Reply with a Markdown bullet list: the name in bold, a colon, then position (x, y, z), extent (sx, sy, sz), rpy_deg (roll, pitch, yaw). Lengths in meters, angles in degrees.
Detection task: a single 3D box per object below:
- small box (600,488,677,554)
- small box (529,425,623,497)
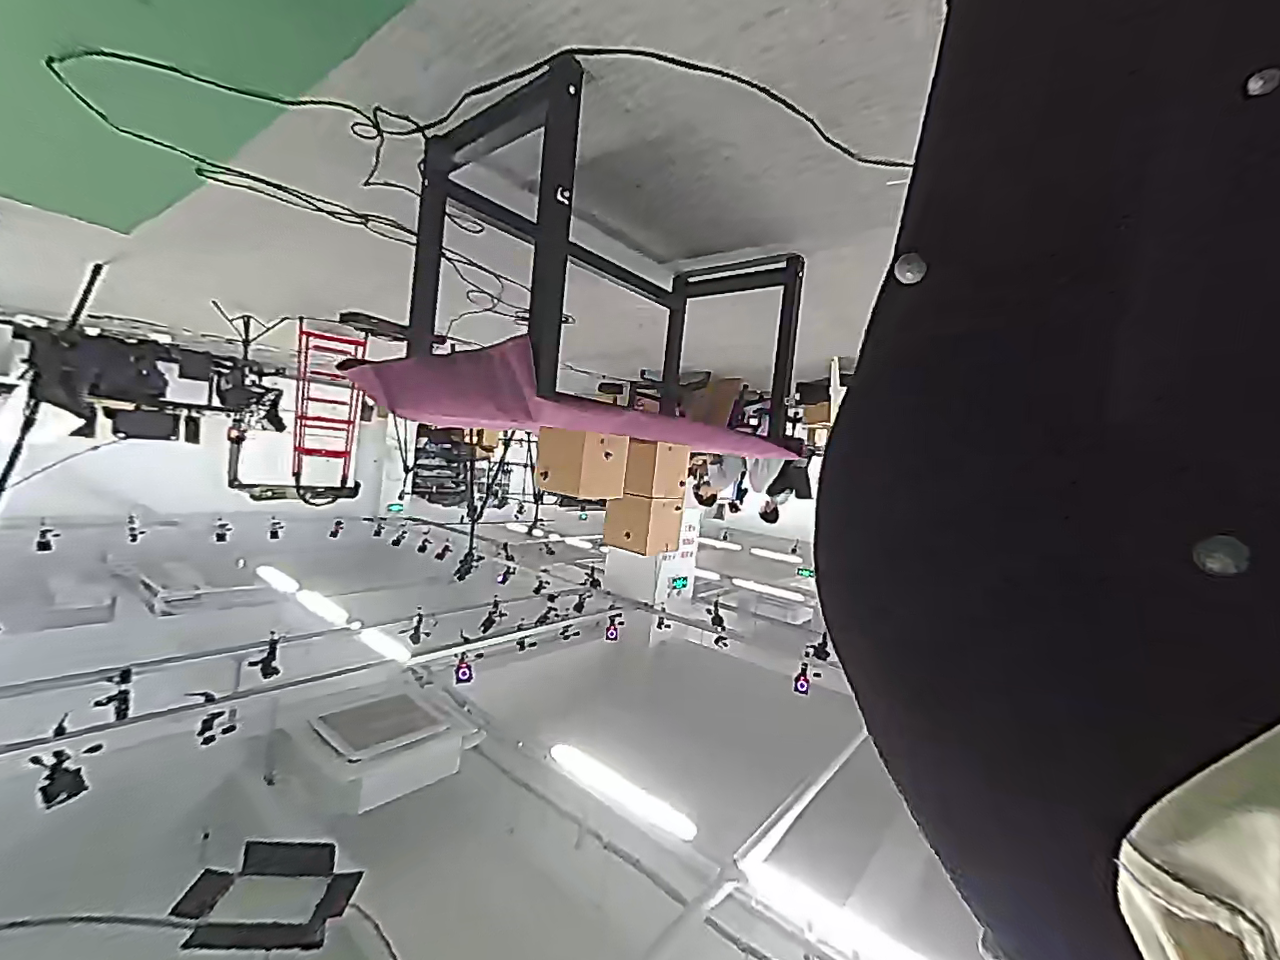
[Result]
- **small box**: position (-0.001, 0.118, 1.643), extent (0.179, 0.176, 0.168), rpy_deg (10, -176, 39)
- **small box**: position (-0.162, -0.052, 1.408), extent (0.179, 0.176, 0.168), rpy_deg (9, -176, 38)
